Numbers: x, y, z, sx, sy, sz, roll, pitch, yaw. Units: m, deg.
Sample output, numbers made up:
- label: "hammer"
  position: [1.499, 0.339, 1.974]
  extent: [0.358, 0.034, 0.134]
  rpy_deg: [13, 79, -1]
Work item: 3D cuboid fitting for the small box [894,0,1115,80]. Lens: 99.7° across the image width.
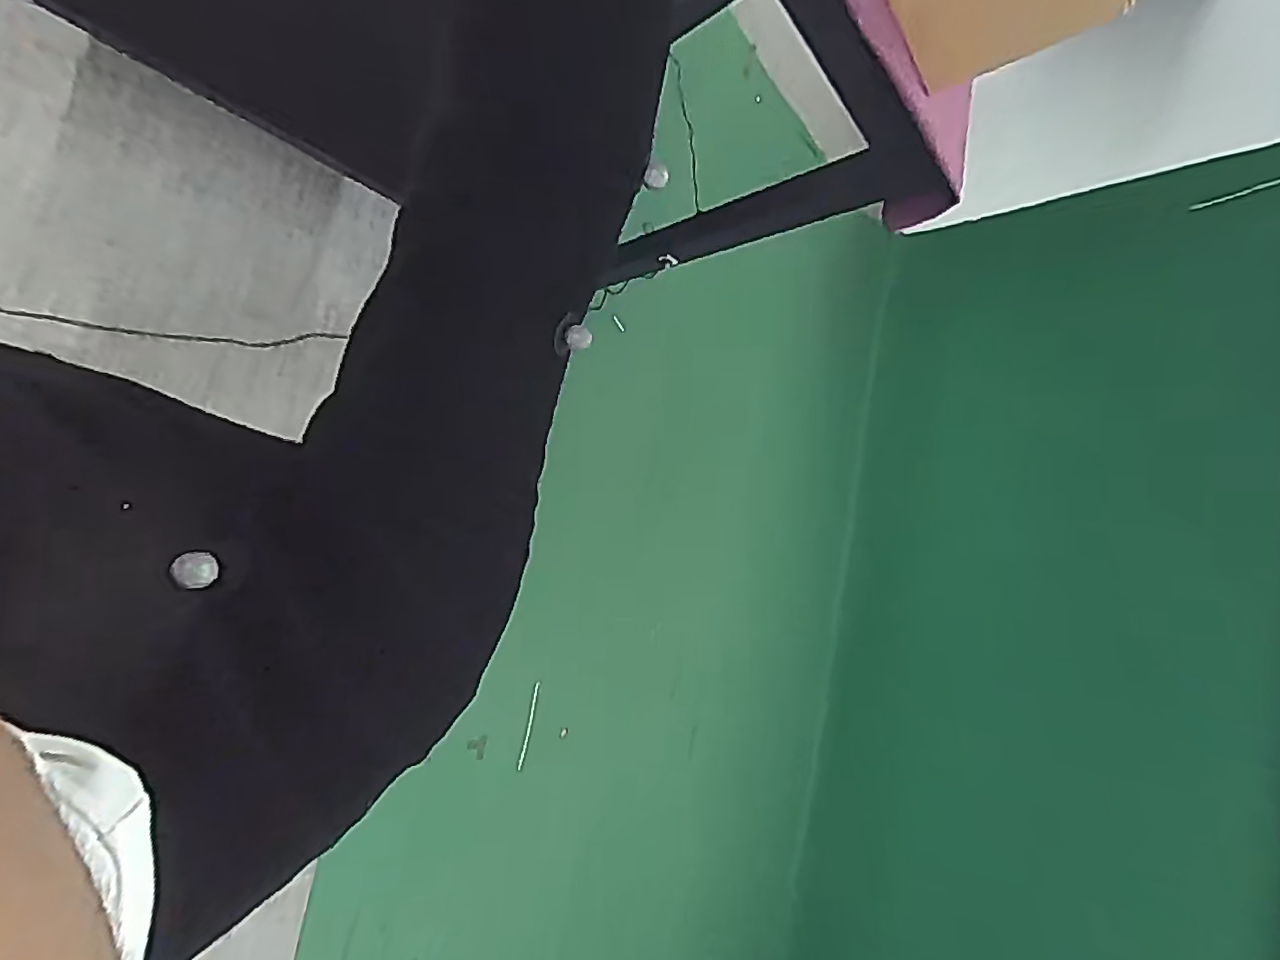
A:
- label: "small box"
  position: [0.326, -0.521, 0.486]
  extent: [0.179, 0.176, 0.168]
  rpy_deg: [22, 78, -43]
